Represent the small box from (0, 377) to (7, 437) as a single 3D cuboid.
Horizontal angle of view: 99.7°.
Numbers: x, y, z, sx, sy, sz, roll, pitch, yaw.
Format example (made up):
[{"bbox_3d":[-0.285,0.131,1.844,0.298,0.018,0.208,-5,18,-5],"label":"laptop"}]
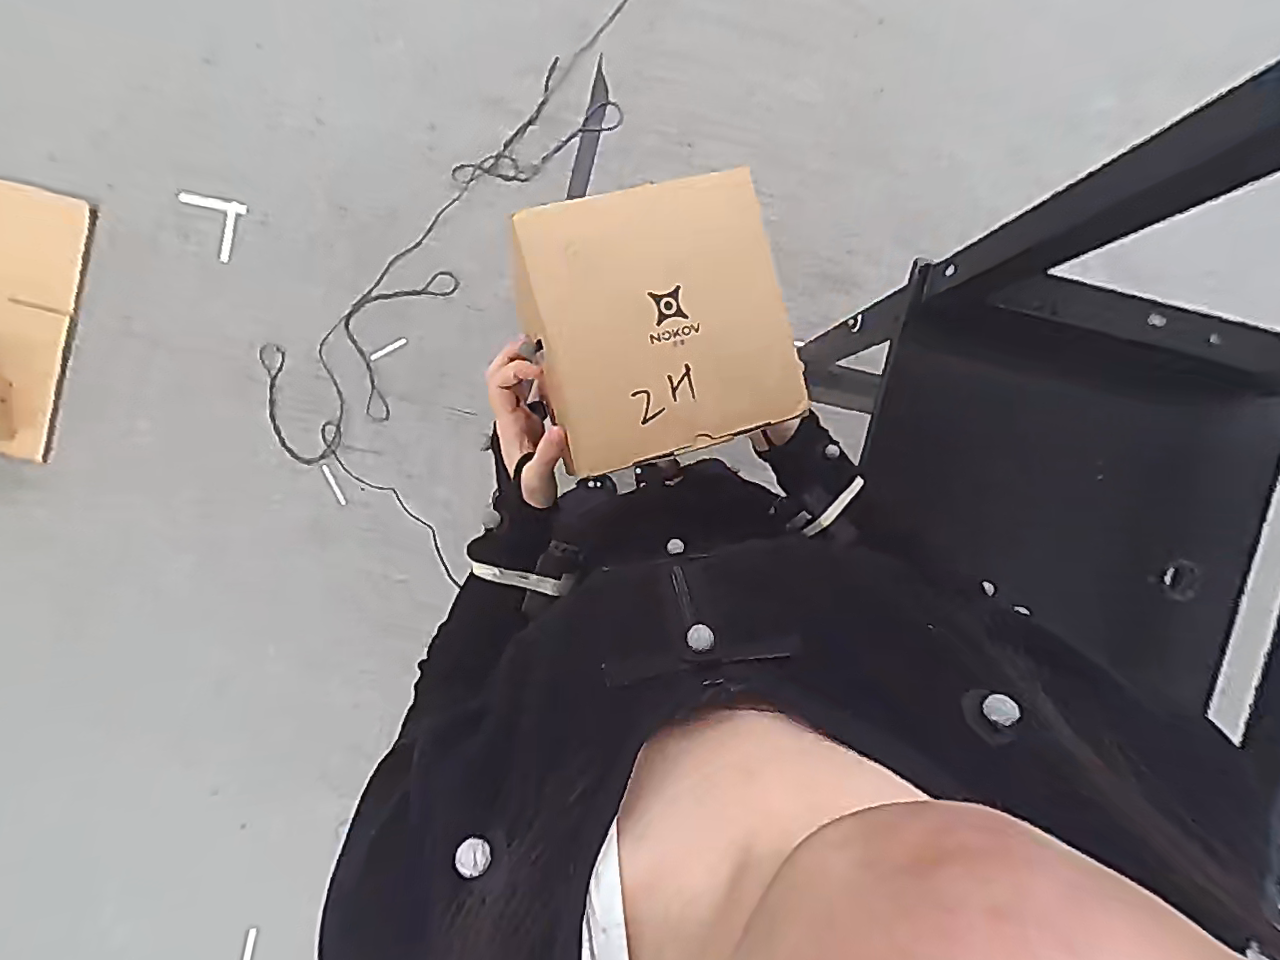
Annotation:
[{"bbox_3d":[-1.728,-0.185,1.327,0.179,0.176,0.168,1,94,-3],"label":"small box"}]
